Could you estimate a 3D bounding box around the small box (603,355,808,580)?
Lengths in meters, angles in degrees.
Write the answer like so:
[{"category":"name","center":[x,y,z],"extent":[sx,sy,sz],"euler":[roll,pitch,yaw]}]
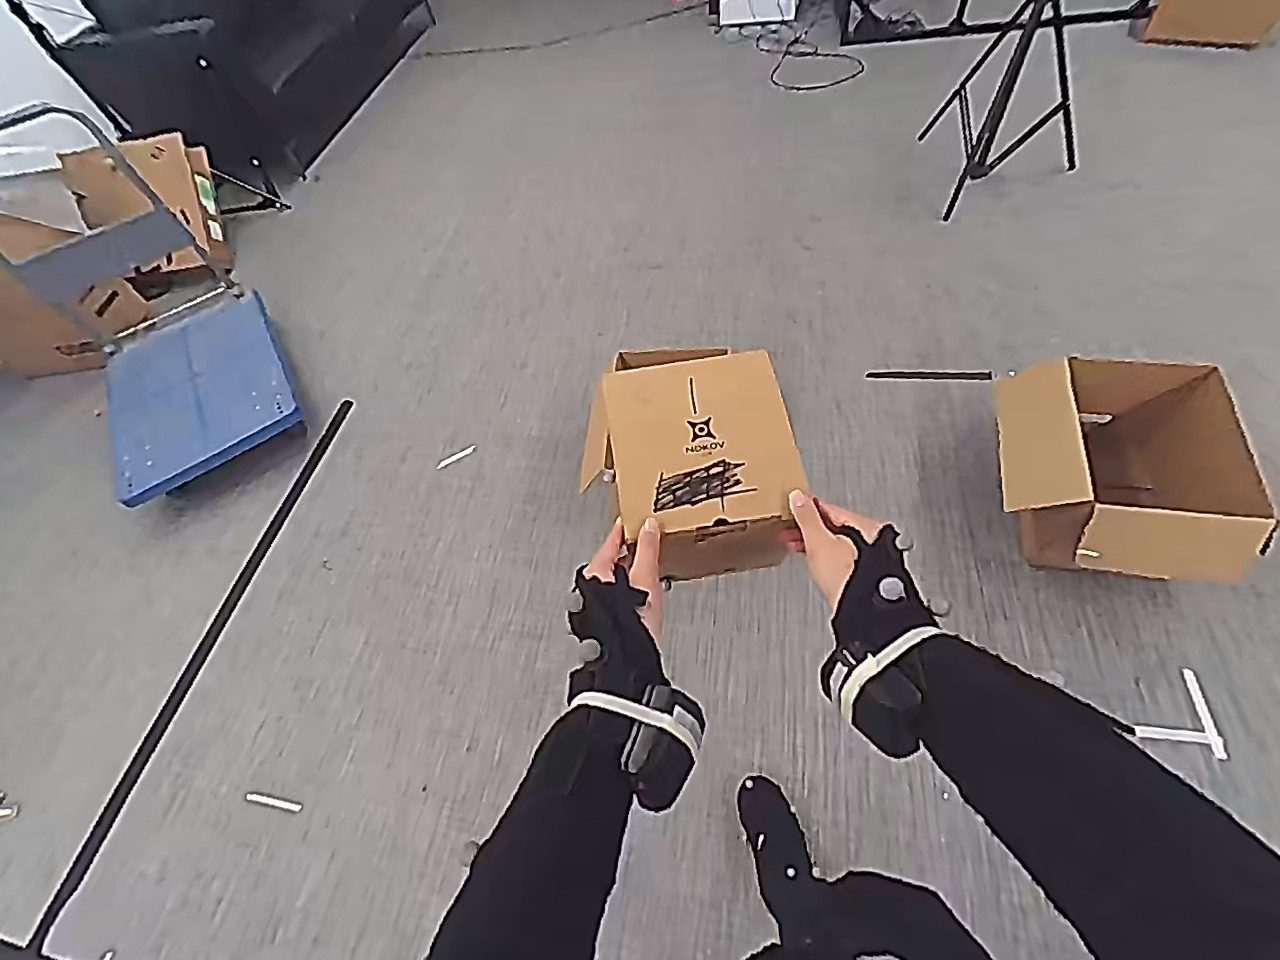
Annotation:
[{"category":"small box","center":[0.059,-0.001,0.570],"extent":[0.168,0.176,0.179],"euler":[-9,64,-2]}]
